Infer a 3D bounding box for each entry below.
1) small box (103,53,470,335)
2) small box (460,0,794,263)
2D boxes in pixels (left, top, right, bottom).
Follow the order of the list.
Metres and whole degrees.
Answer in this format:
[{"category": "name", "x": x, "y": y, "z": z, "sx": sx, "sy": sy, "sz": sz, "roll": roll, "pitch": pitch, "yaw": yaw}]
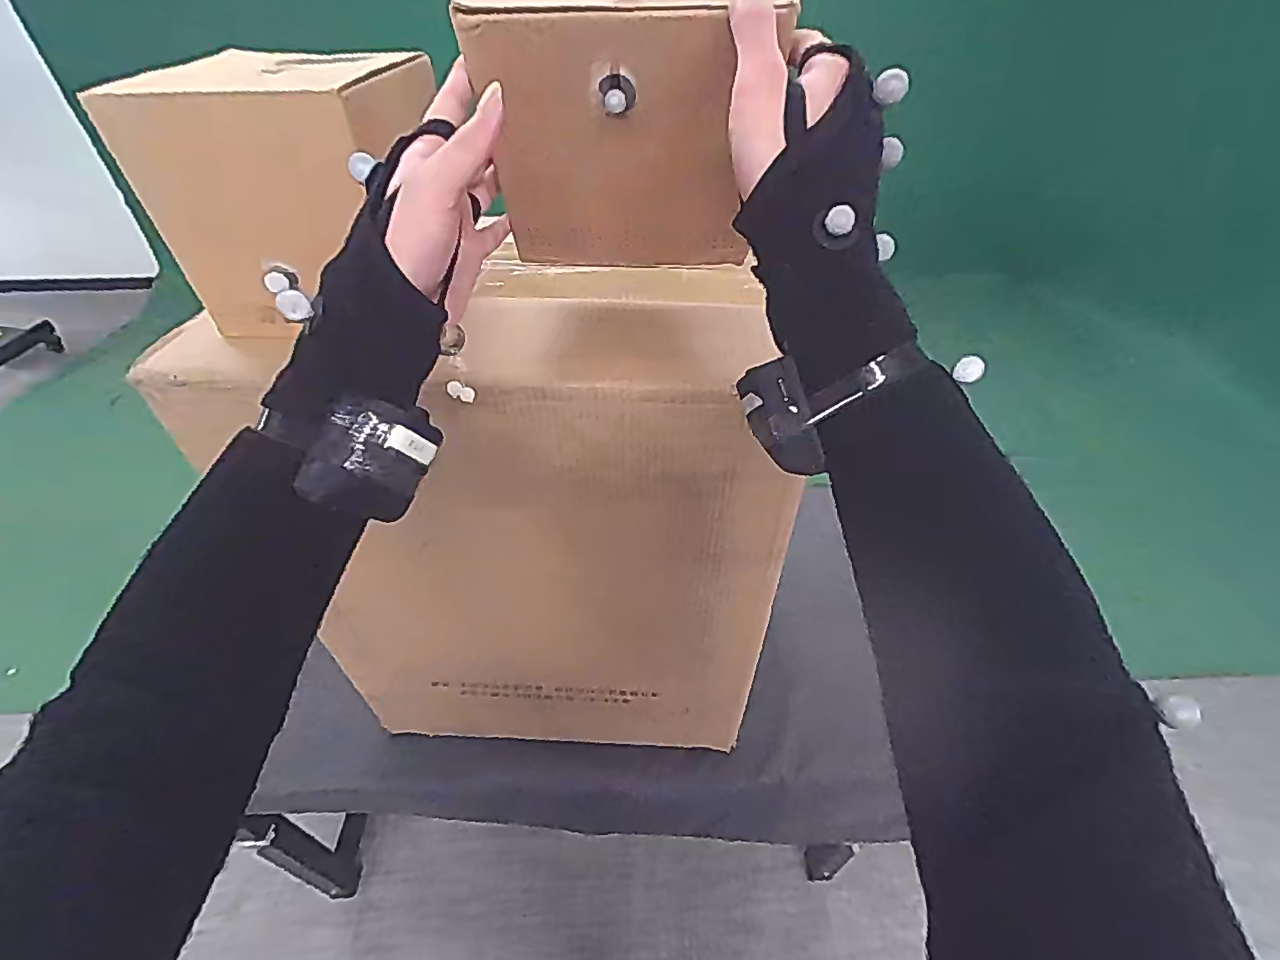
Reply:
[{"category": "small box", "x": -0.254, "y": -0.239, "z": 0.451, "sx": 0.168, "sy": 0.176, "sz": 0.179, "roll": 1, "pitch": 44, "yaw": 2}, {"category": "small box", "x": -0.002, "y": -0.276, "z": 0.382, "sx": 0.179, "sy": 0.176, "sz": 0.168, "roll": 2, "pitch": 66, "yaw": 1}]
